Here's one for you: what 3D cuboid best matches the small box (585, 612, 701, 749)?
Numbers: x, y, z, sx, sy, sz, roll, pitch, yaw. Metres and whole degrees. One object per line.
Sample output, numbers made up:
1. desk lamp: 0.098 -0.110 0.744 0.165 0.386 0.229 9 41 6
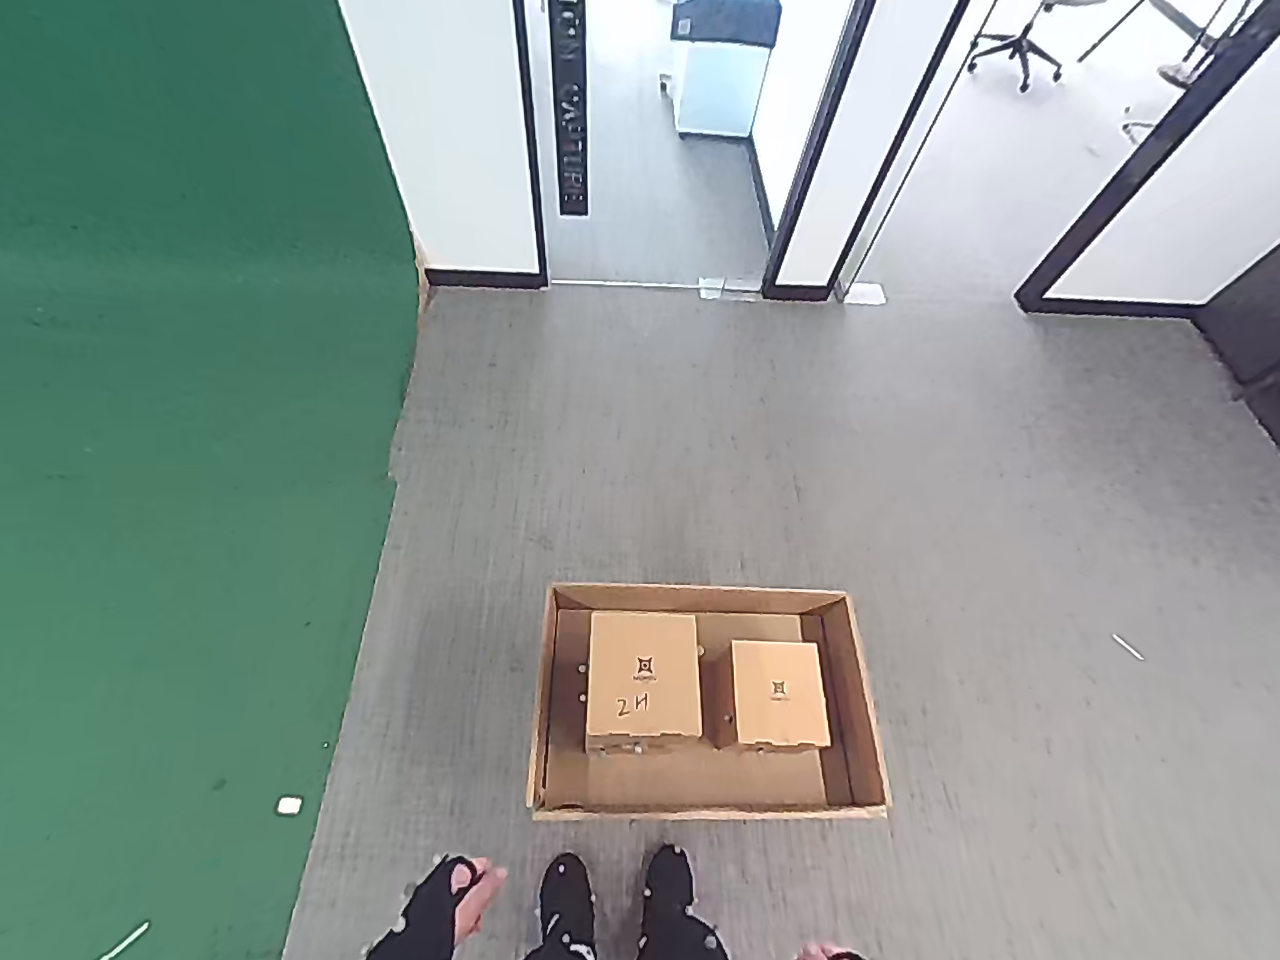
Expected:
1. small box: -0.001 0.324 0.865 0.168 0.176 0.179 2 59 -4
